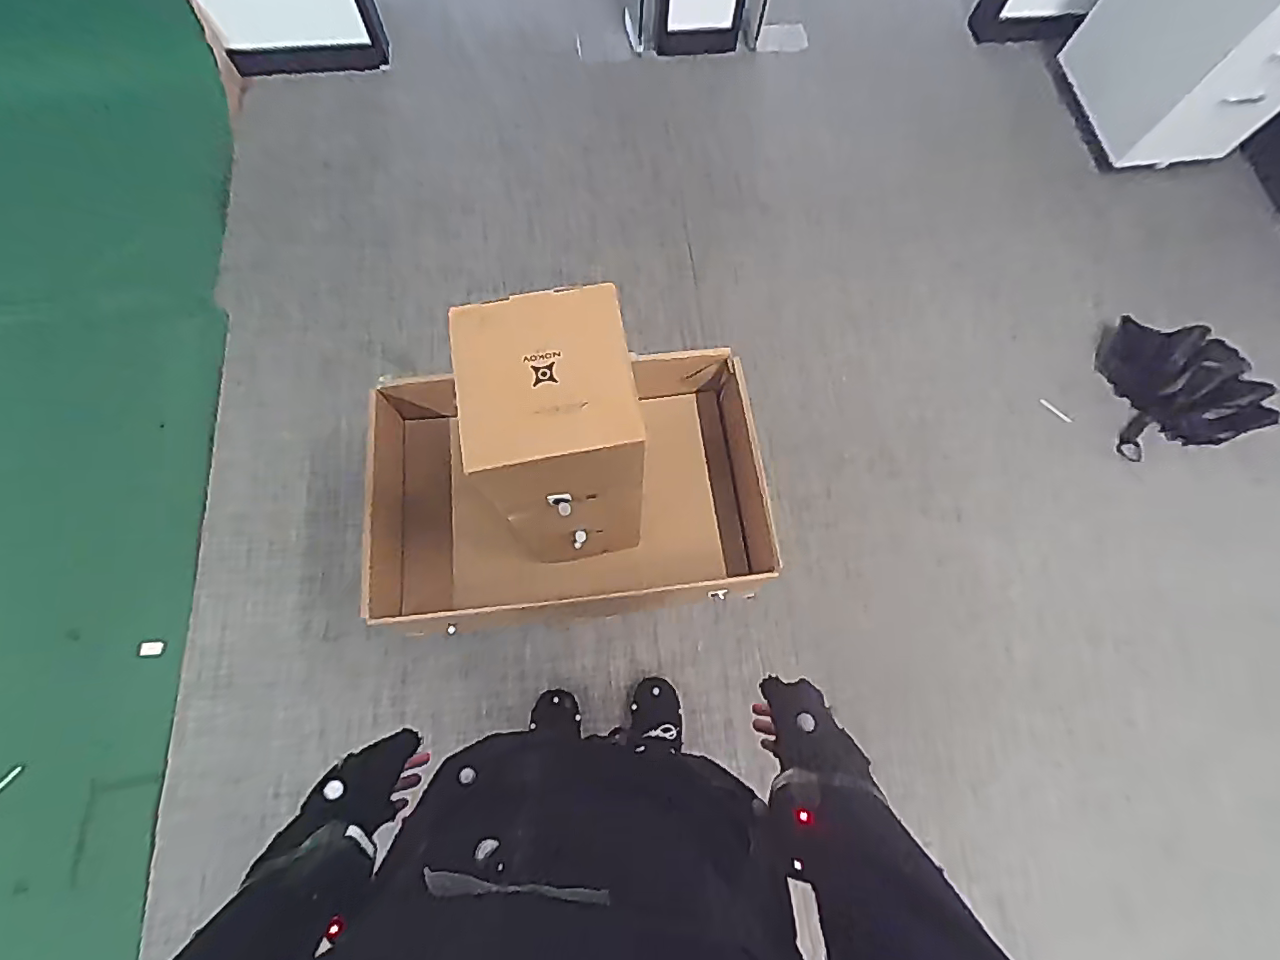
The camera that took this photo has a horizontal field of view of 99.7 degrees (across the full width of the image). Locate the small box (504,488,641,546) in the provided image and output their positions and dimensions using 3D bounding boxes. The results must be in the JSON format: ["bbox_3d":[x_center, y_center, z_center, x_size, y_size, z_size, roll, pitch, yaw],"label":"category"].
[{"bbox_3d":[-0.096,-0.023,0.741,0.168,0.176,0.179,-10,72,-5],"label":"small box"}]

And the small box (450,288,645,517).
[{"bbox_3d":[-0.093,-0.074,0.588,0.168,0.176,0.179,-11,73,-4],"label":"small box"}]

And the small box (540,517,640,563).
[{"bbox_3d":[-0.097,0.025,0.898,0.168,0.176,0.179,-11,71,-3],"label":"small box"}]
